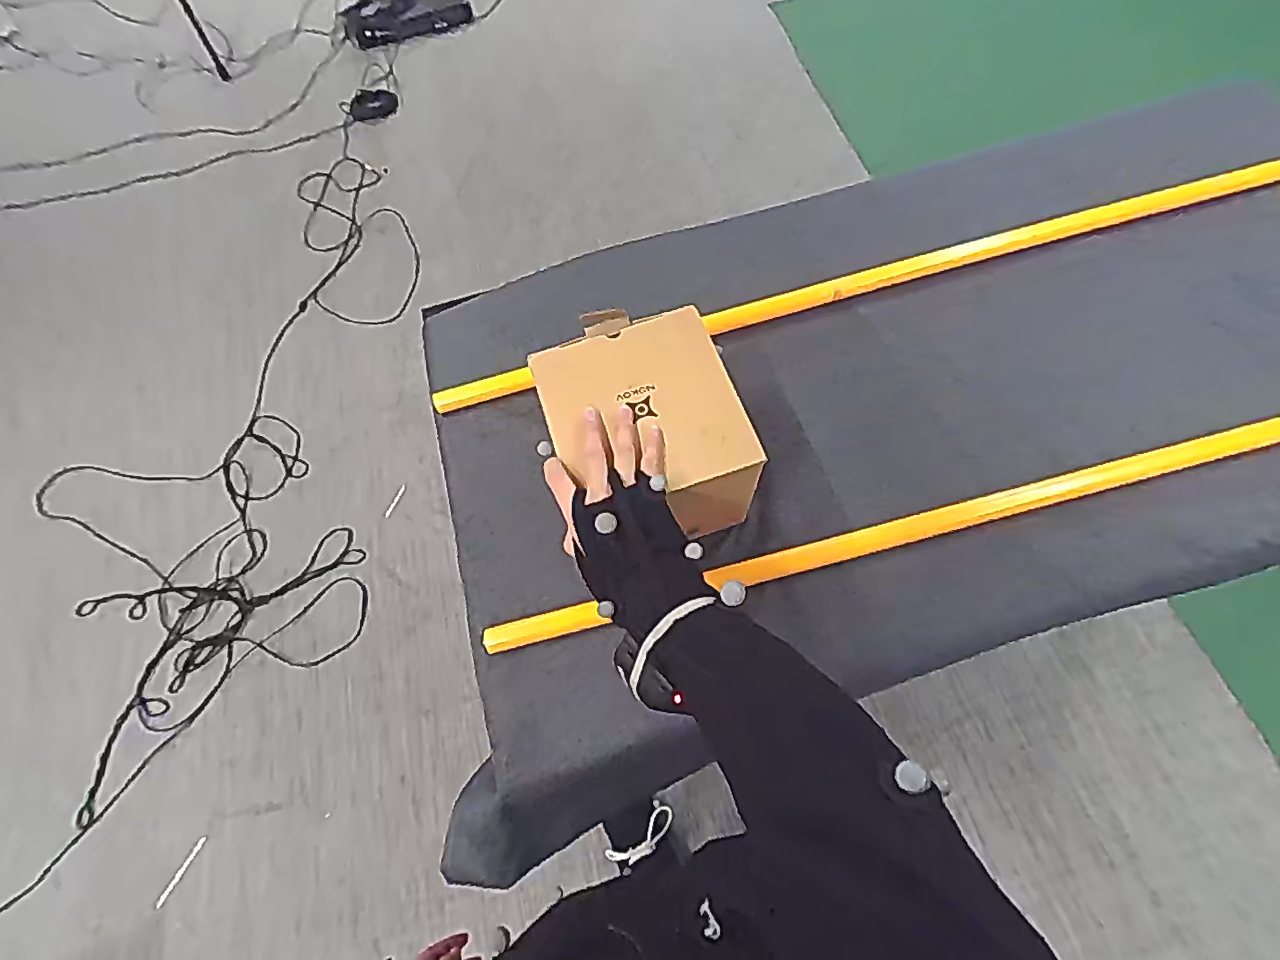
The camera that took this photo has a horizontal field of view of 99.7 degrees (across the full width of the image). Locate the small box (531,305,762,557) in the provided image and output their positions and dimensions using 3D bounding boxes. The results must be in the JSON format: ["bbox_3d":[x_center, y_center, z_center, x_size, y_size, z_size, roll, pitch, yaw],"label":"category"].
[{"bbox_3d":[0.007,-0.035,0.545,0.168,0.176,0.179,-18,66,-3],"label":"small box"}]
